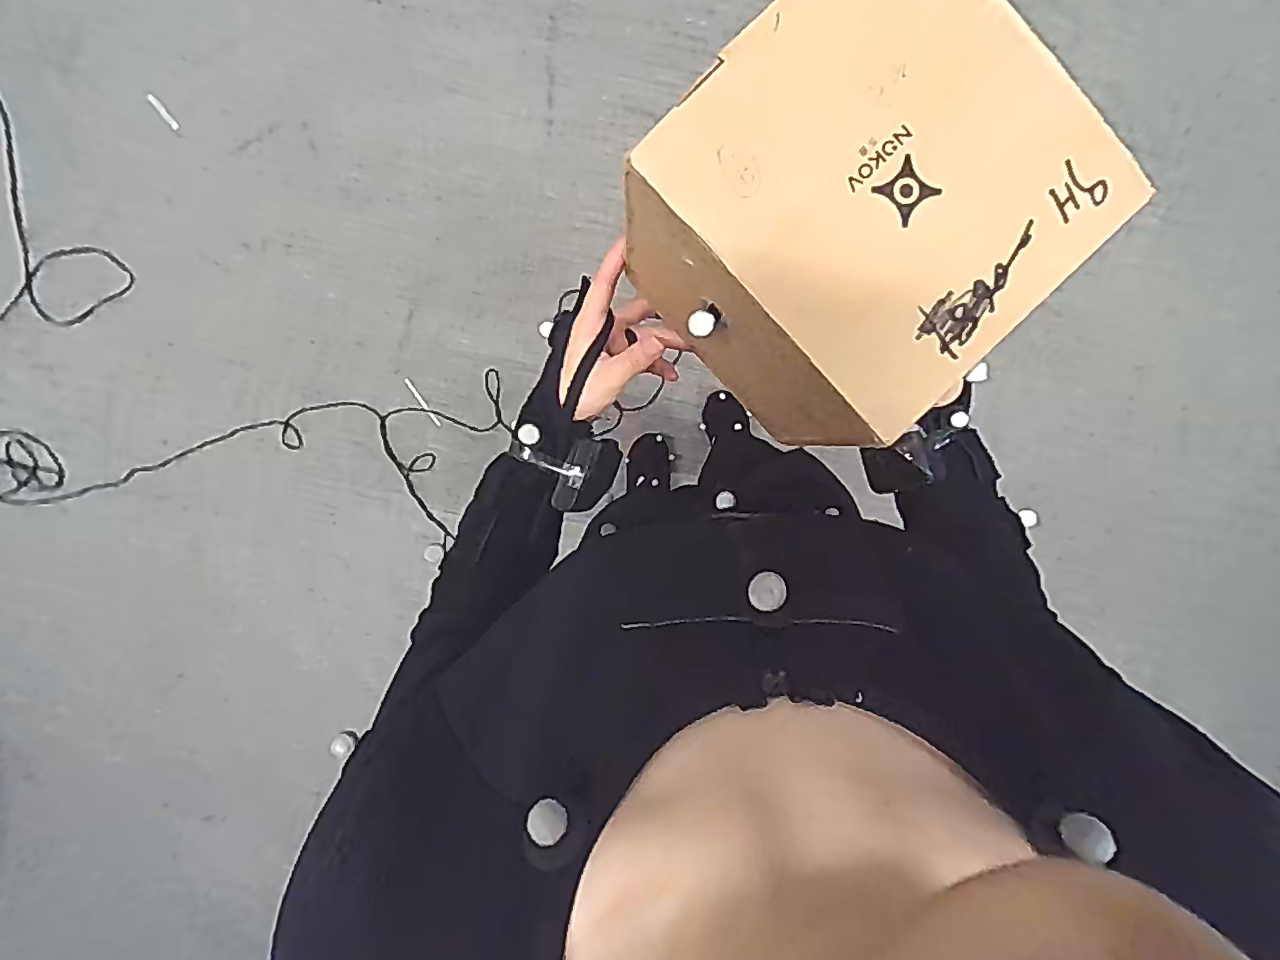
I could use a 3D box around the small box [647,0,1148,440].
[{"bbox_3d":[0.117,-0.136,0.327,0.168,0.176,0.179,-44,93,2],"label":"small box"}]
